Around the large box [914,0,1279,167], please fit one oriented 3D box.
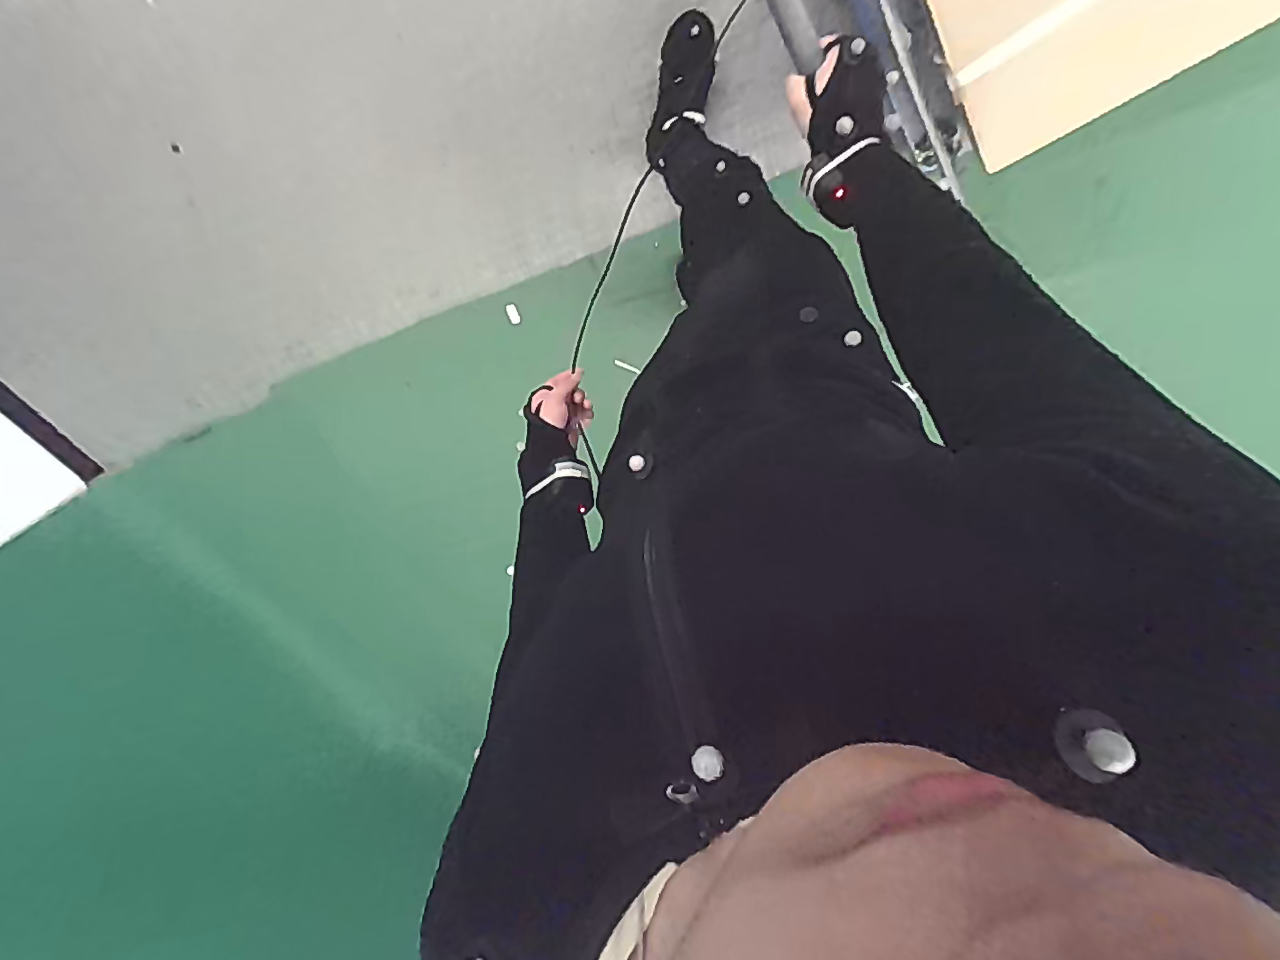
[{"bbox_3d":[0.652,-0.755,0.786,0.408,0.320,0.320,-20,123,36],"label":"large box"}]
